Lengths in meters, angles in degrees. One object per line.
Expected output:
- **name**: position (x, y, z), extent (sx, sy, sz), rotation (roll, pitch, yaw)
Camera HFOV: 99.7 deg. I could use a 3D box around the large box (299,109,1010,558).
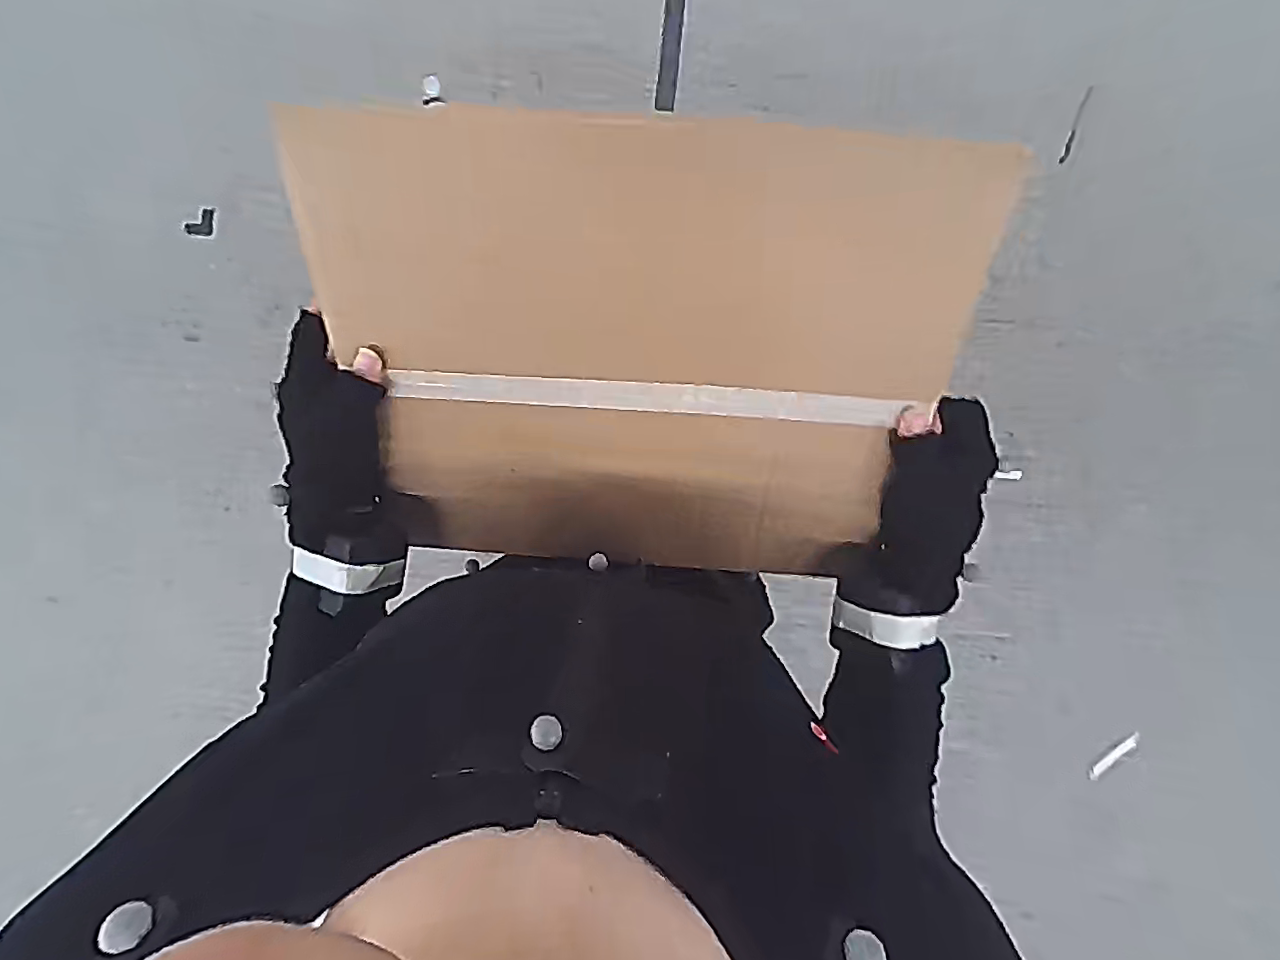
- **large box**: position (0.006, -0.153, 0.503), extent (0.408, 0.320, 0.320), rotation (4, 126, 2)
